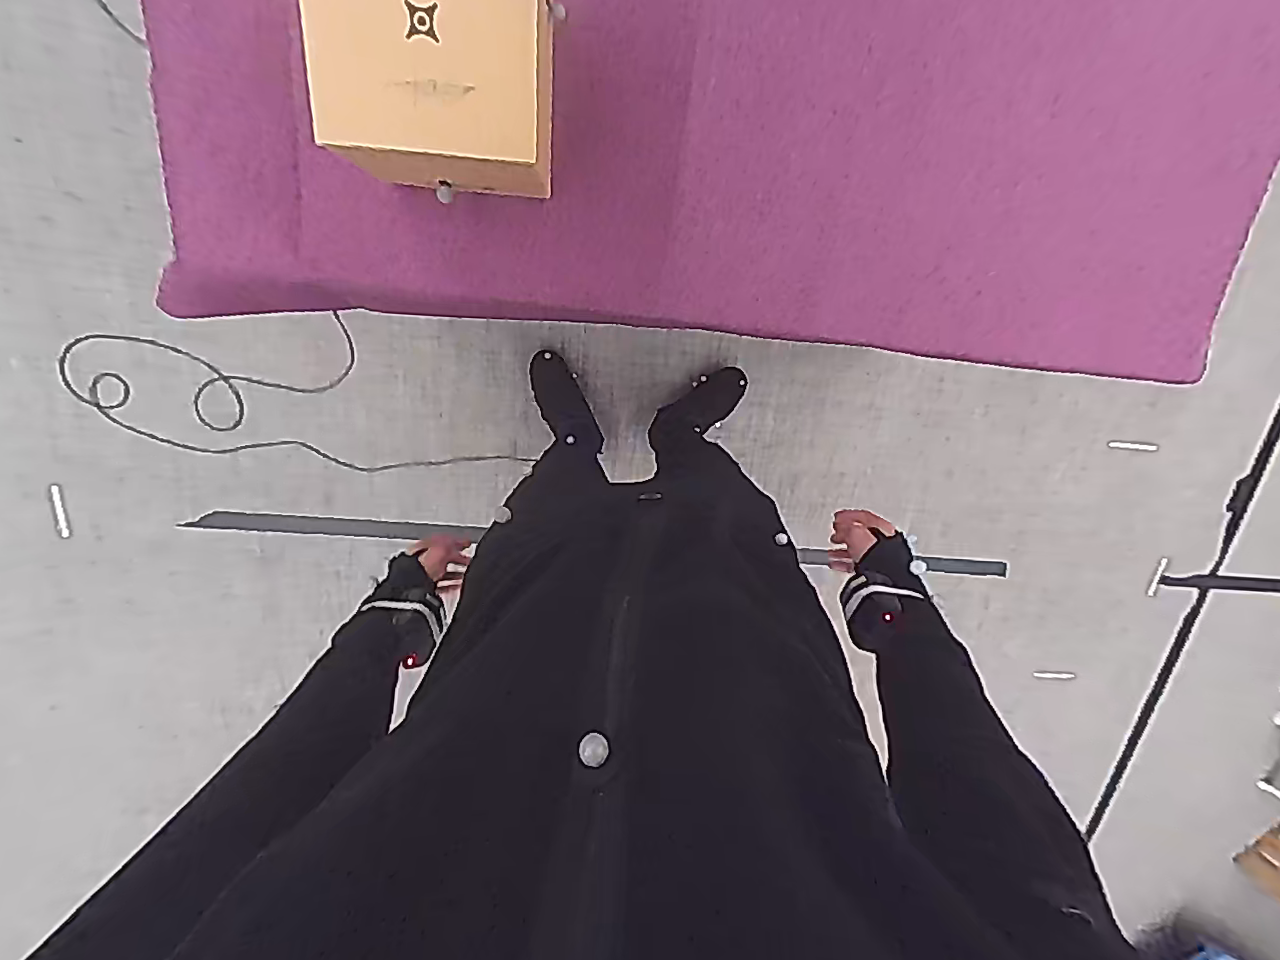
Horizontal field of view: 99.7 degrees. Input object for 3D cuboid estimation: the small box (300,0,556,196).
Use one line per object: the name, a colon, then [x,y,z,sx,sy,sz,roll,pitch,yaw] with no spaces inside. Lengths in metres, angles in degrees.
small box: [-0.160,-0.358,0.454,0.168,0.176,0.179,3,109,-6]
